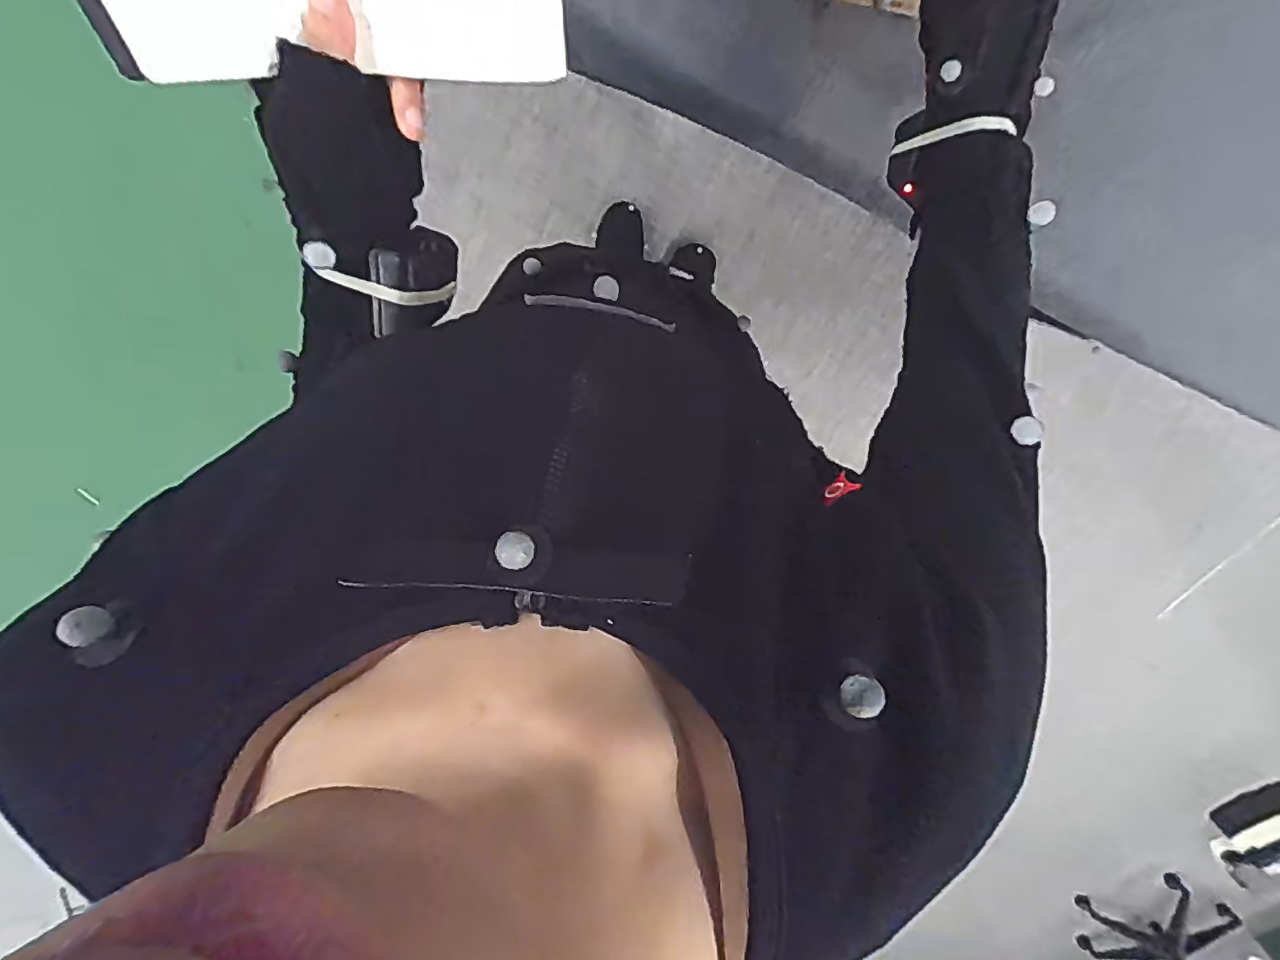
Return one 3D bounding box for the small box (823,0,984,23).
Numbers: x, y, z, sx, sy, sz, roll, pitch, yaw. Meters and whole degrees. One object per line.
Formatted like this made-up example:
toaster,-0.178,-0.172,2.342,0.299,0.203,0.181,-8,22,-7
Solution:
small box,0.229,-0.489,0.405,0.168,0.176,0.179,9,117,-2
